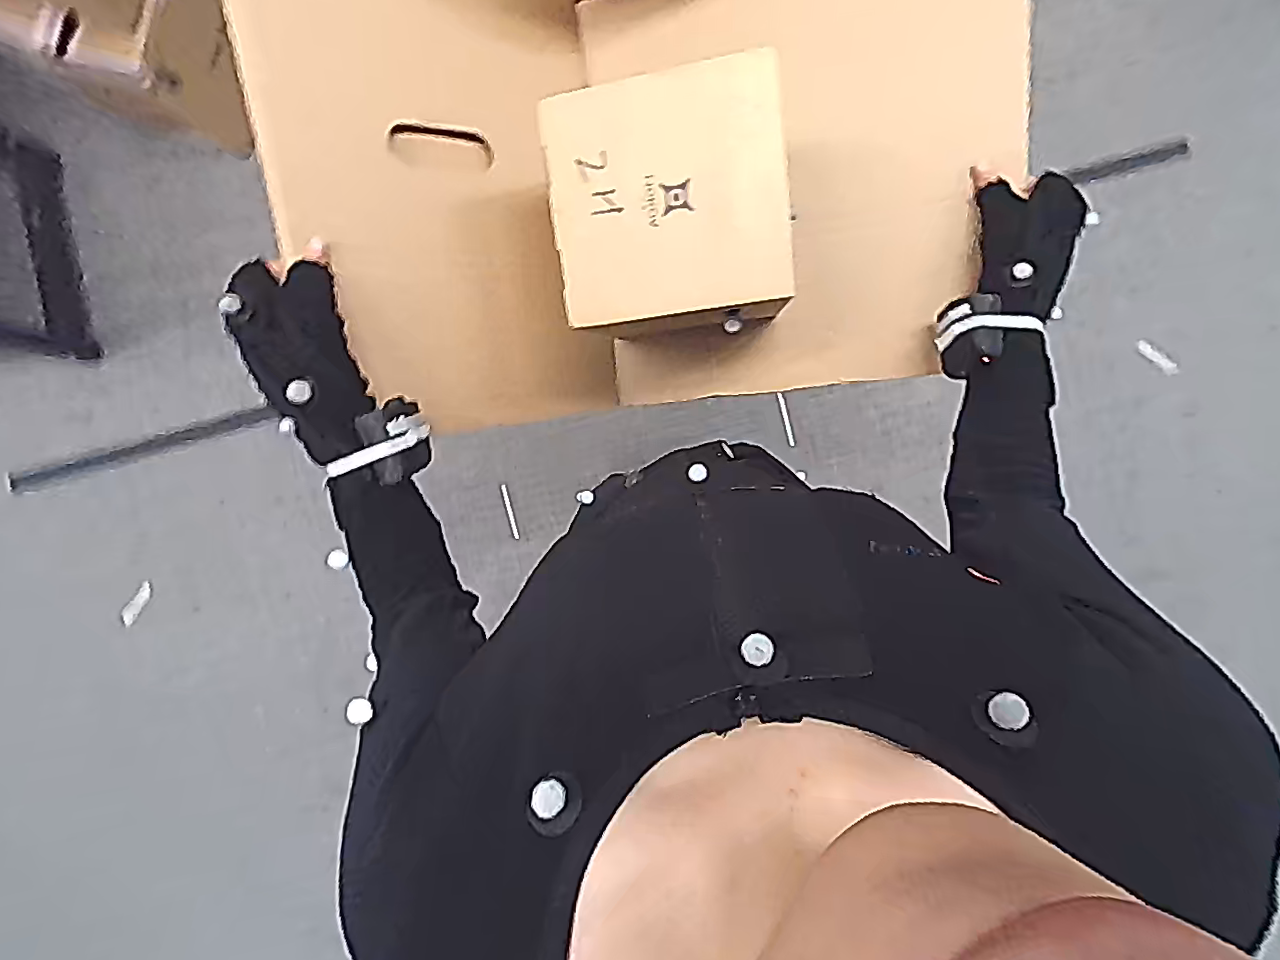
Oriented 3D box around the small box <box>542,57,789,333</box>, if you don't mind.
[{"bbox_3d":[0.032,-0.227,0.483,0.179,0.176,0.168,-4,101,12],"label":"small box"}]
